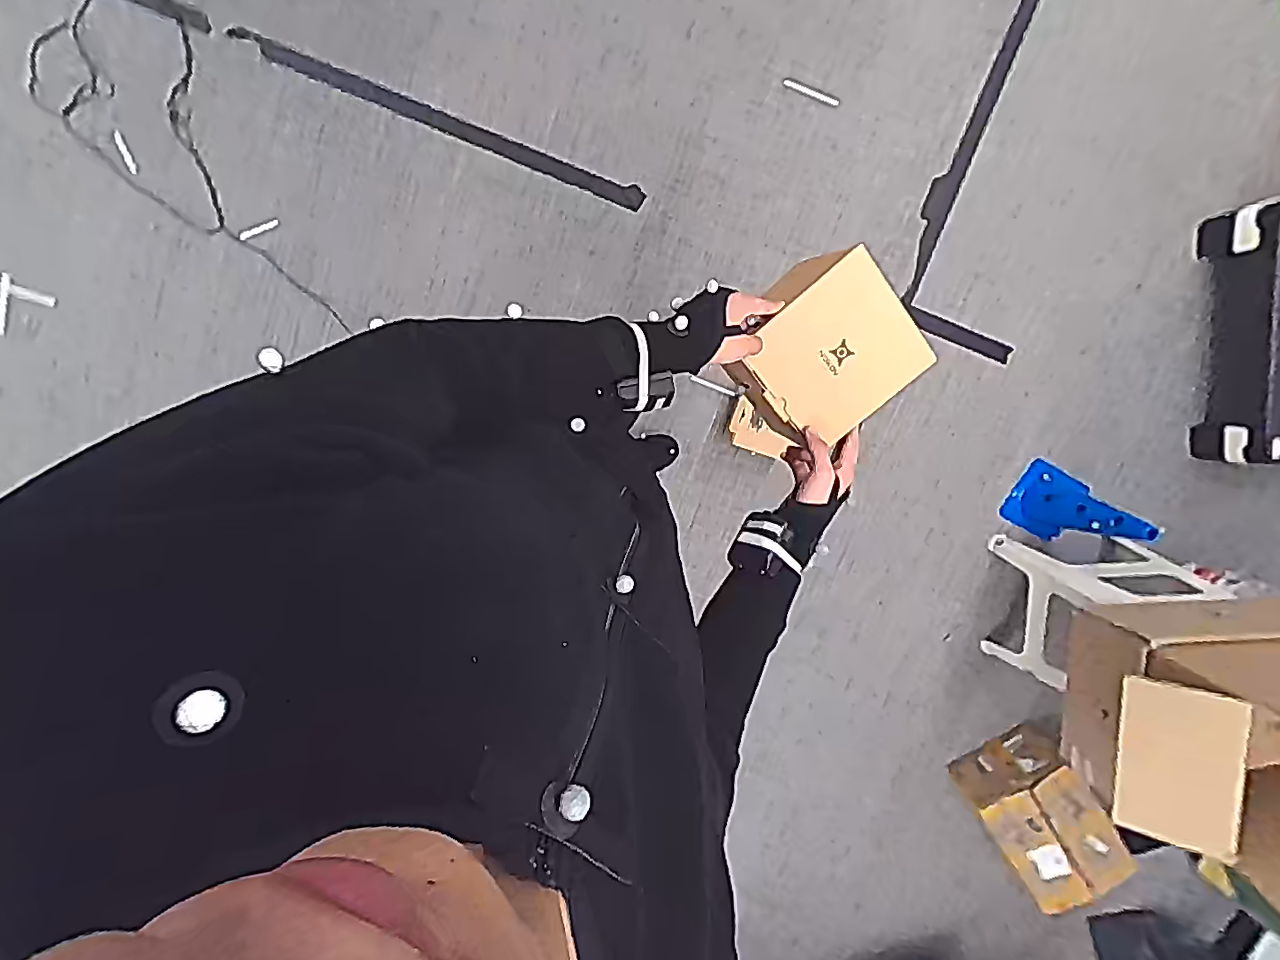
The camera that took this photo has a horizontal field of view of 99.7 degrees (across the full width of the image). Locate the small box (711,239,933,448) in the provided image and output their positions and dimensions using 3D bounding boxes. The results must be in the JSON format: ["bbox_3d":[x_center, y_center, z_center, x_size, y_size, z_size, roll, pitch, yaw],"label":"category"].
[{"bbox_3d":[0.215,-0.172,0.685,0.179,0.176,0.168,-41,106,8],"label":"small box"}]

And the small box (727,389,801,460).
[{"bbox_3d":[0.354,-0.167,1.501,0.179,0.176,0.168,18,100,-3],"label":"small box"}]
